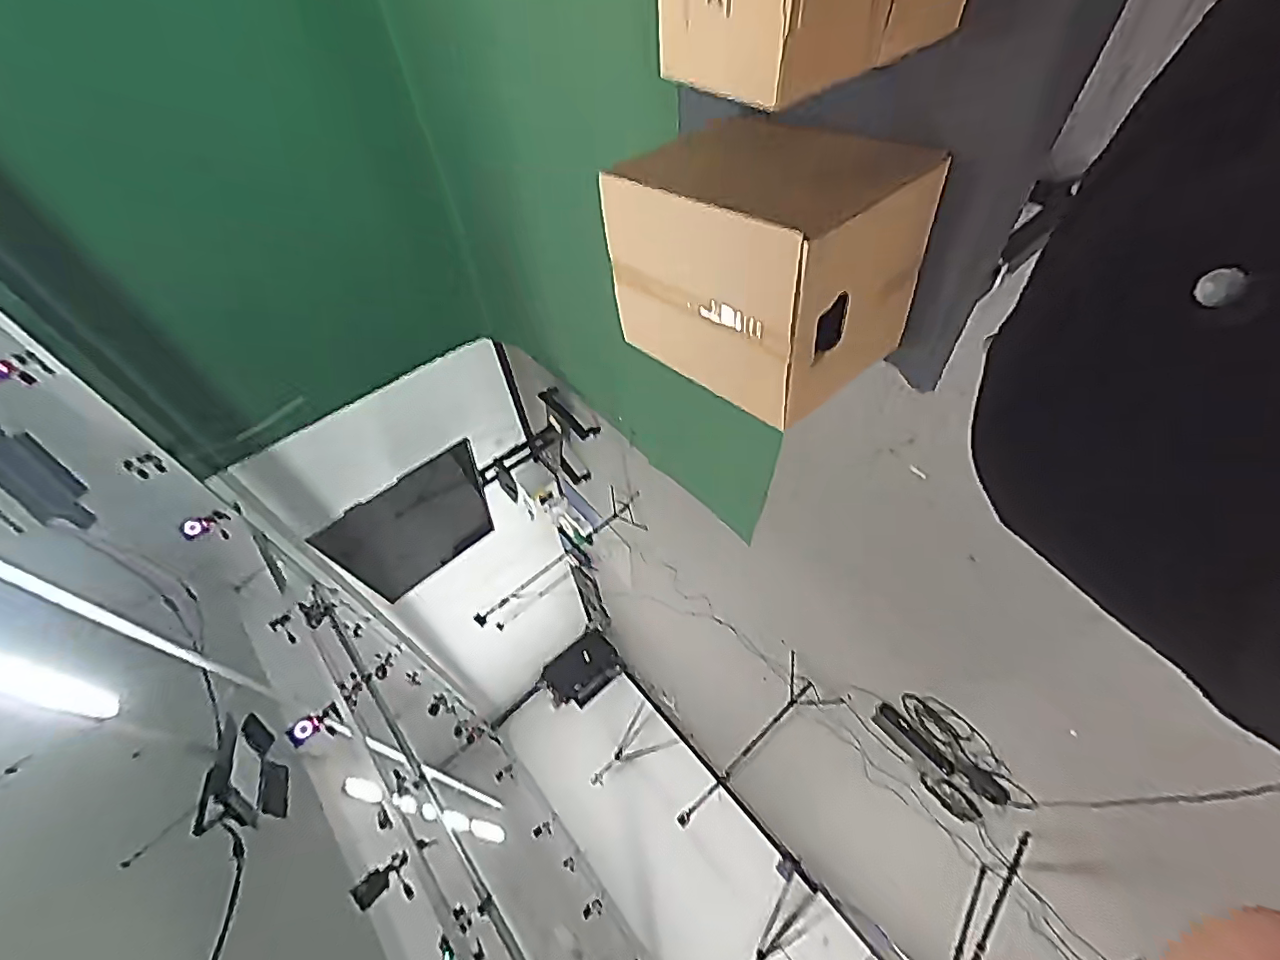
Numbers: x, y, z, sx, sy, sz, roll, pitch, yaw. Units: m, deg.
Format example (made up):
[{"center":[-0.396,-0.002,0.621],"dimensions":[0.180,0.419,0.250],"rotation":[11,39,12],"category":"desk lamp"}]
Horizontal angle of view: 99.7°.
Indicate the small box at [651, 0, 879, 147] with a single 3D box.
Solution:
[{"center":[0.131,-0.481,0.558],"dimensions":[0.179,0.176,0.168],"rotation":[41,156,30],"category":"small box"}]
